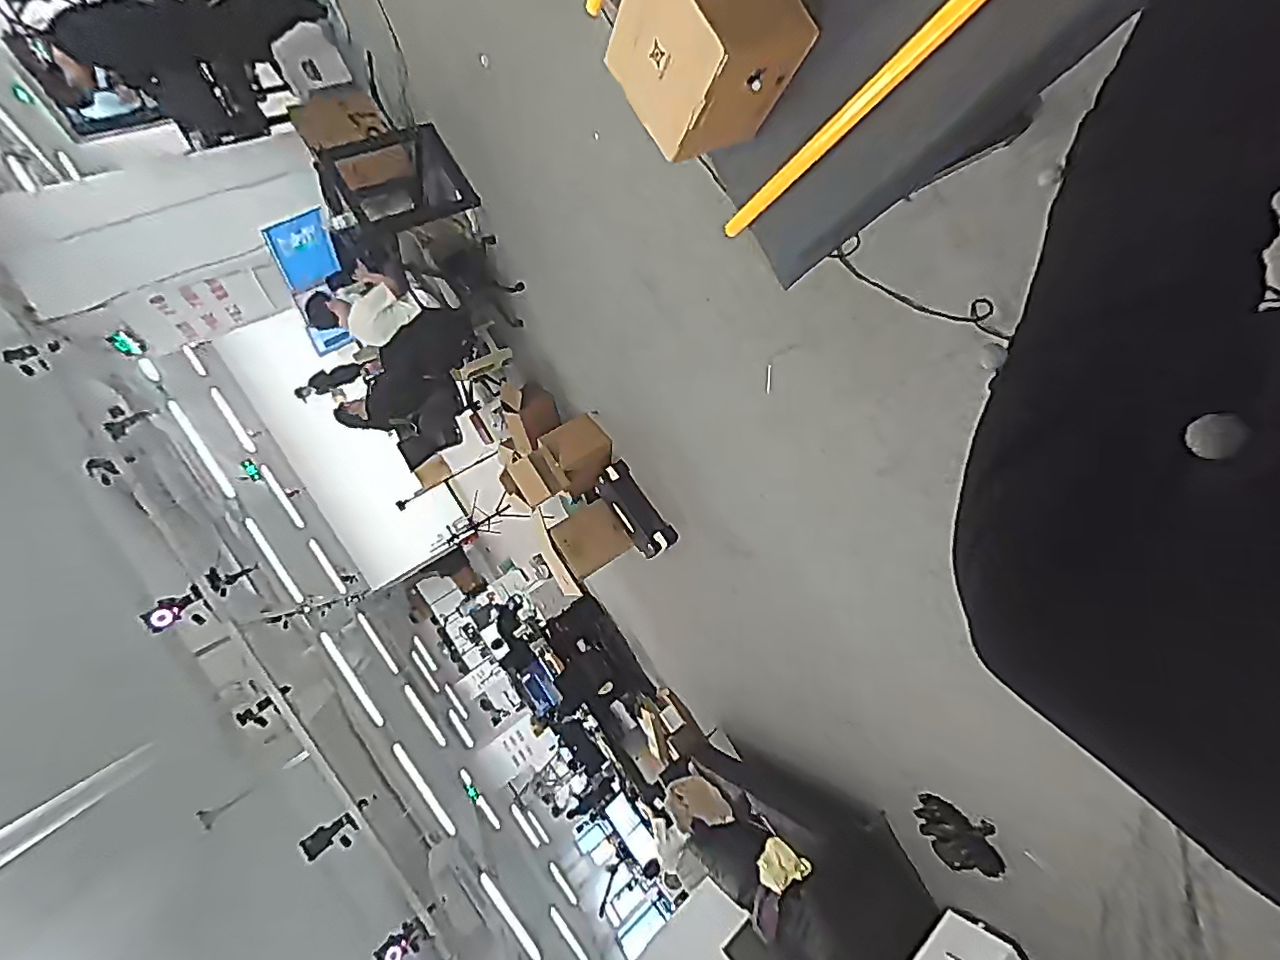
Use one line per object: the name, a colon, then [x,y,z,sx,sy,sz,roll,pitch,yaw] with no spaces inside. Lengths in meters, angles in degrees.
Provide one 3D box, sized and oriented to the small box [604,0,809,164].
small box: [0.085,-0.566,0.712,0.179,0.176,0.168,59,155,2]
